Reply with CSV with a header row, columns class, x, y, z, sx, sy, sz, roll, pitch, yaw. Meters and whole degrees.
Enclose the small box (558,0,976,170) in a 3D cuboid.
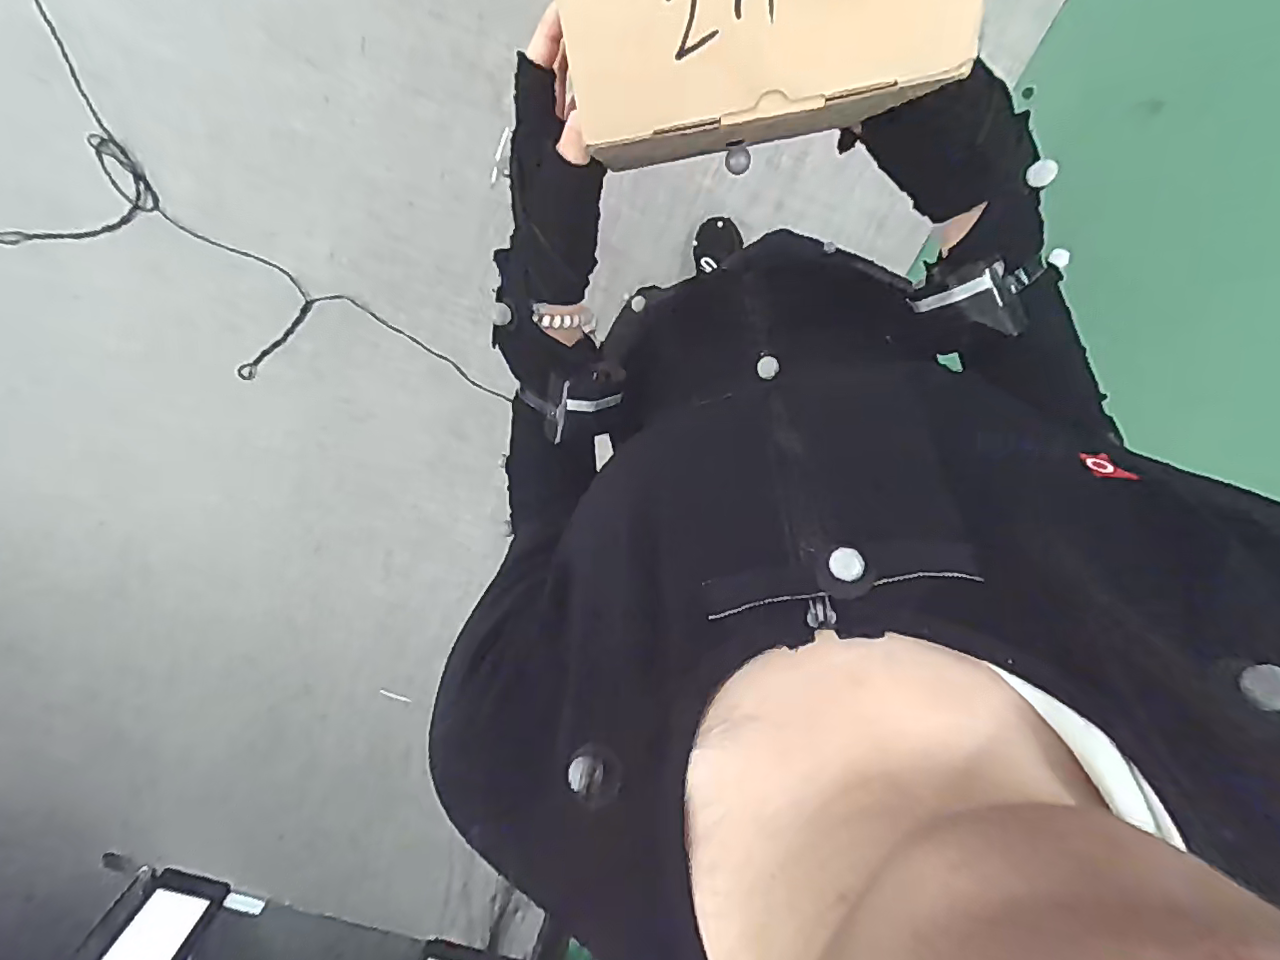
class,x,y,z,sx,sy,sz,roll,pitch,yaw
small box,0.044,-0.270,0.265,0.168,0.176,0.179,-8,116,6
